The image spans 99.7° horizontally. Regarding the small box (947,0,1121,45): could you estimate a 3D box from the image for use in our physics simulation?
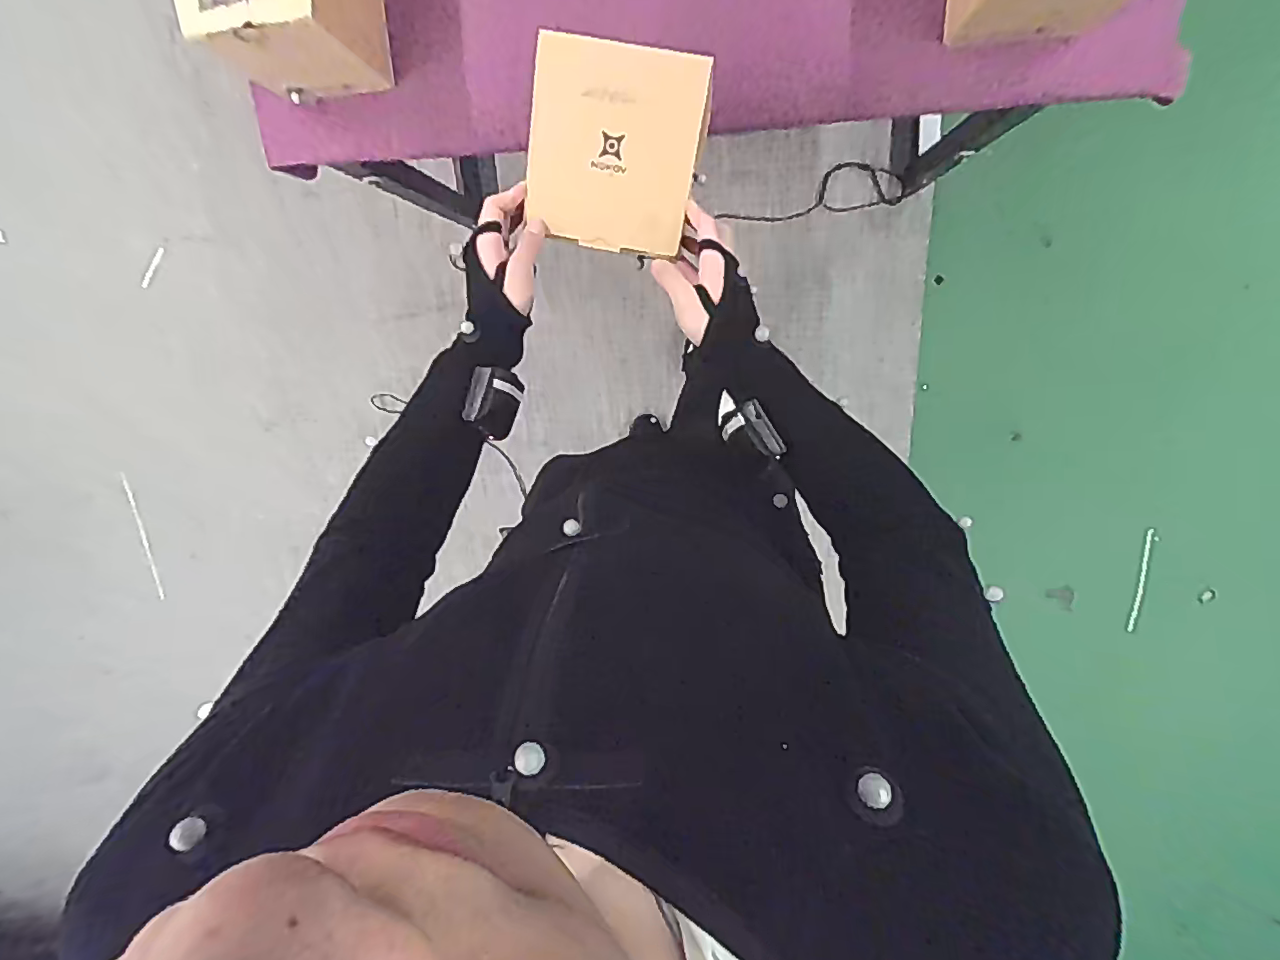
[{"bbox_3d":[0.442,-0.601,0.561,0.168,0.176,0.179,0,106,9],"label":"small box"}]

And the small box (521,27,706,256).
[{"bbox_3d":[-0.022,-0.358,0.607,0.168,0.176,0.179,12,113,3],"label":"small box"}]

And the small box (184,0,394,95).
[{"bbox_3d":[-0.435,-0.615,0.678,0.168,0.176,0.179,-1,104,8],"label":"small box"}]
